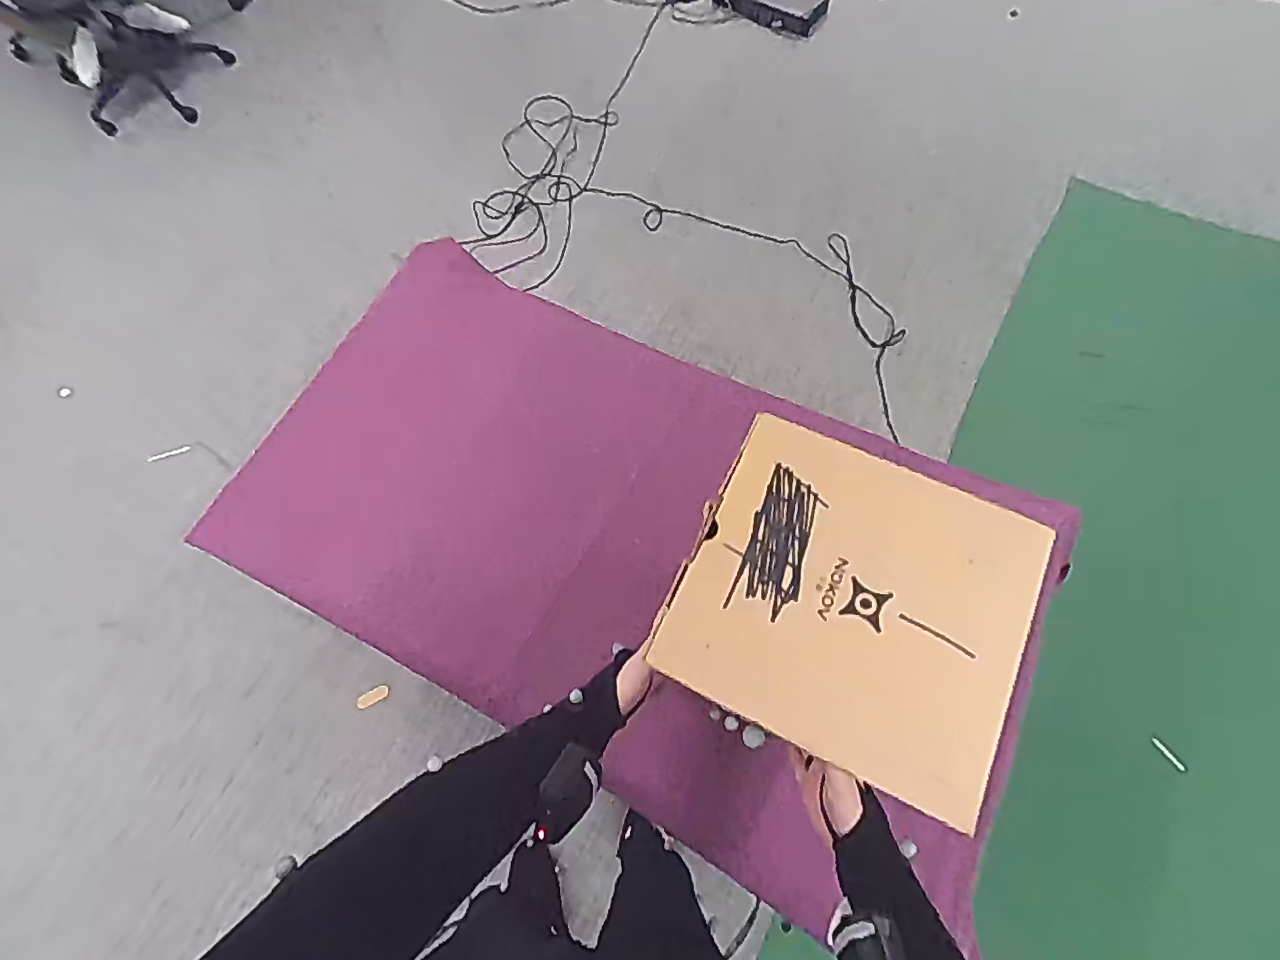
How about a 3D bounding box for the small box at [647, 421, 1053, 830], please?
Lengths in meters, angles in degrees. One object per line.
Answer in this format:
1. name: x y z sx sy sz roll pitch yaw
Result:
1. small box: 0.121 0.092 0.369 0.179 0.176 0.168 25 74 12
